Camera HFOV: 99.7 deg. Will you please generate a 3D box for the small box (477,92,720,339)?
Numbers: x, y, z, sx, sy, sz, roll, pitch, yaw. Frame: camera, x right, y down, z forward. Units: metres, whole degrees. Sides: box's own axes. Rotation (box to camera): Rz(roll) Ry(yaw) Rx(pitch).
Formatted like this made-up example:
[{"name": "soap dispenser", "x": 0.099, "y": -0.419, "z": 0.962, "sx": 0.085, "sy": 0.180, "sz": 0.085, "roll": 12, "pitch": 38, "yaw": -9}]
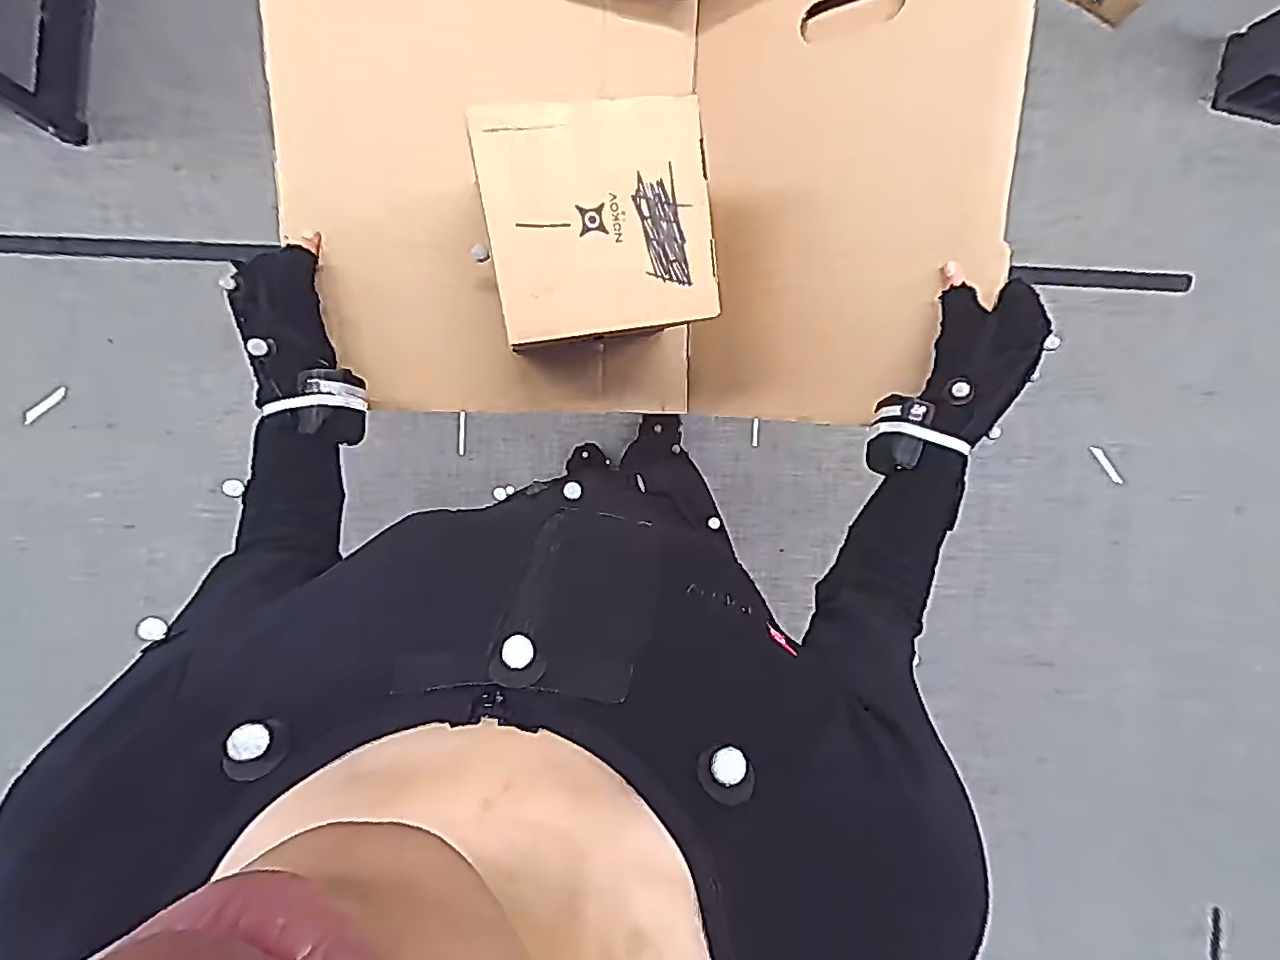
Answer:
[{"name": "small box", "x": -0.043, "y": -0.226, "z": 0.499, "sx": 0.179, "sy": 0.176, "sz": 0.168, "roll": -11, "pitch": 104, "yaw": -10}]
